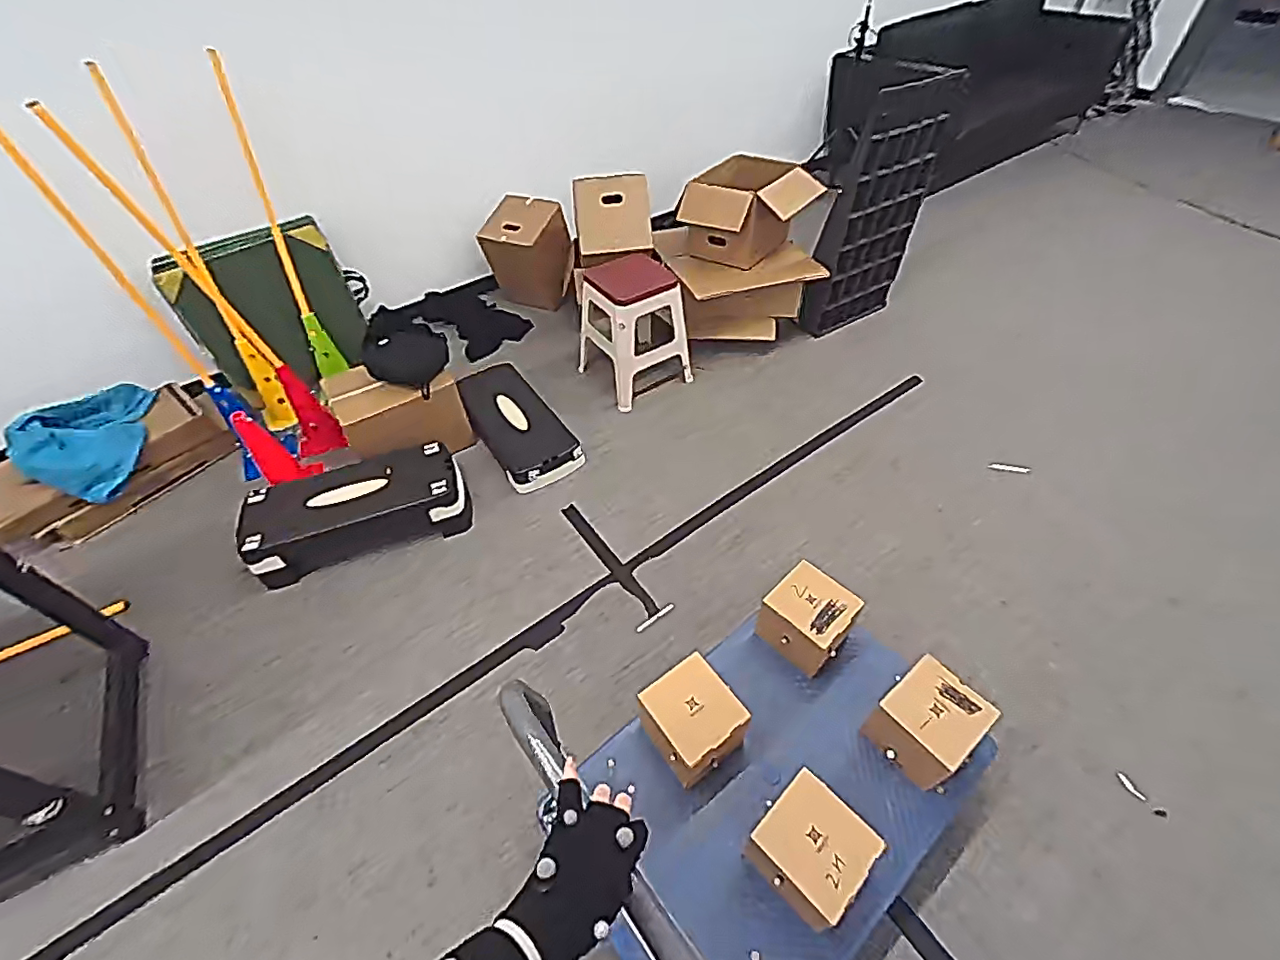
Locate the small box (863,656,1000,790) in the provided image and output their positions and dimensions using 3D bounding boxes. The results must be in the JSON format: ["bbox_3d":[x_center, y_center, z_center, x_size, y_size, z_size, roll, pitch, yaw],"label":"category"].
[{"bbox_3d":[0.606,0.517,1.148,0.179,0.176,0.168,-31,54,-22],"label":"small box"}]

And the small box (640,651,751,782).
[{"bbox_3d":[0.112,0.514,1.171,0.168,0.176,0.179,-29,55,-22],"label":"small box"}]

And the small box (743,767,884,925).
[{"bbox_3d":[0.312,0.685,1.008,0.168,0.176,0.179,-35,55,-26],"label":"small box"}]
